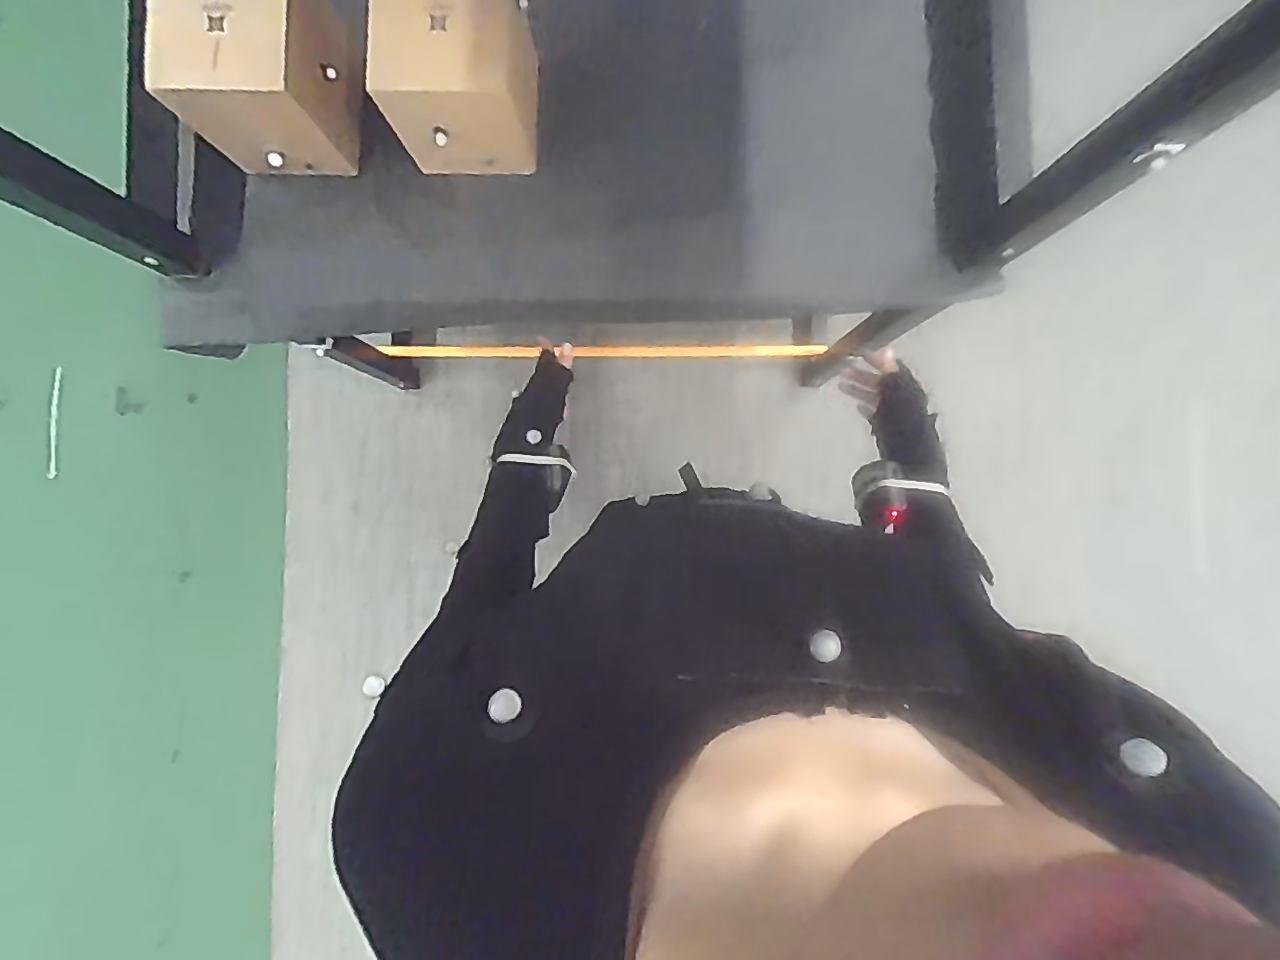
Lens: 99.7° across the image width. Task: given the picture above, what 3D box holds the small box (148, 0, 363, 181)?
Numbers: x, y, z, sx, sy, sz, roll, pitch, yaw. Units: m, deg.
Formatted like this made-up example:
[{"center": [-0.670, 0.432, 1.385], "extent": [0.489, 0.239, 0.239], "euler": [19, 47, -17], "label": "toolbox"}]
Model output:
[{"center": [-0.488, -0.529, 0.711], "extent": [0.168, 0.176, 0.179], "euler": [1, 88, 0], "label": "small box"}]

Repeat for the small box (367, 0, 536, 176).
[{"center": [-0.235, -0.529, 0.713], "extent": [0.168, 0.176, 0.179], "euler": [1, 87, 0], "label": "small box"}]
